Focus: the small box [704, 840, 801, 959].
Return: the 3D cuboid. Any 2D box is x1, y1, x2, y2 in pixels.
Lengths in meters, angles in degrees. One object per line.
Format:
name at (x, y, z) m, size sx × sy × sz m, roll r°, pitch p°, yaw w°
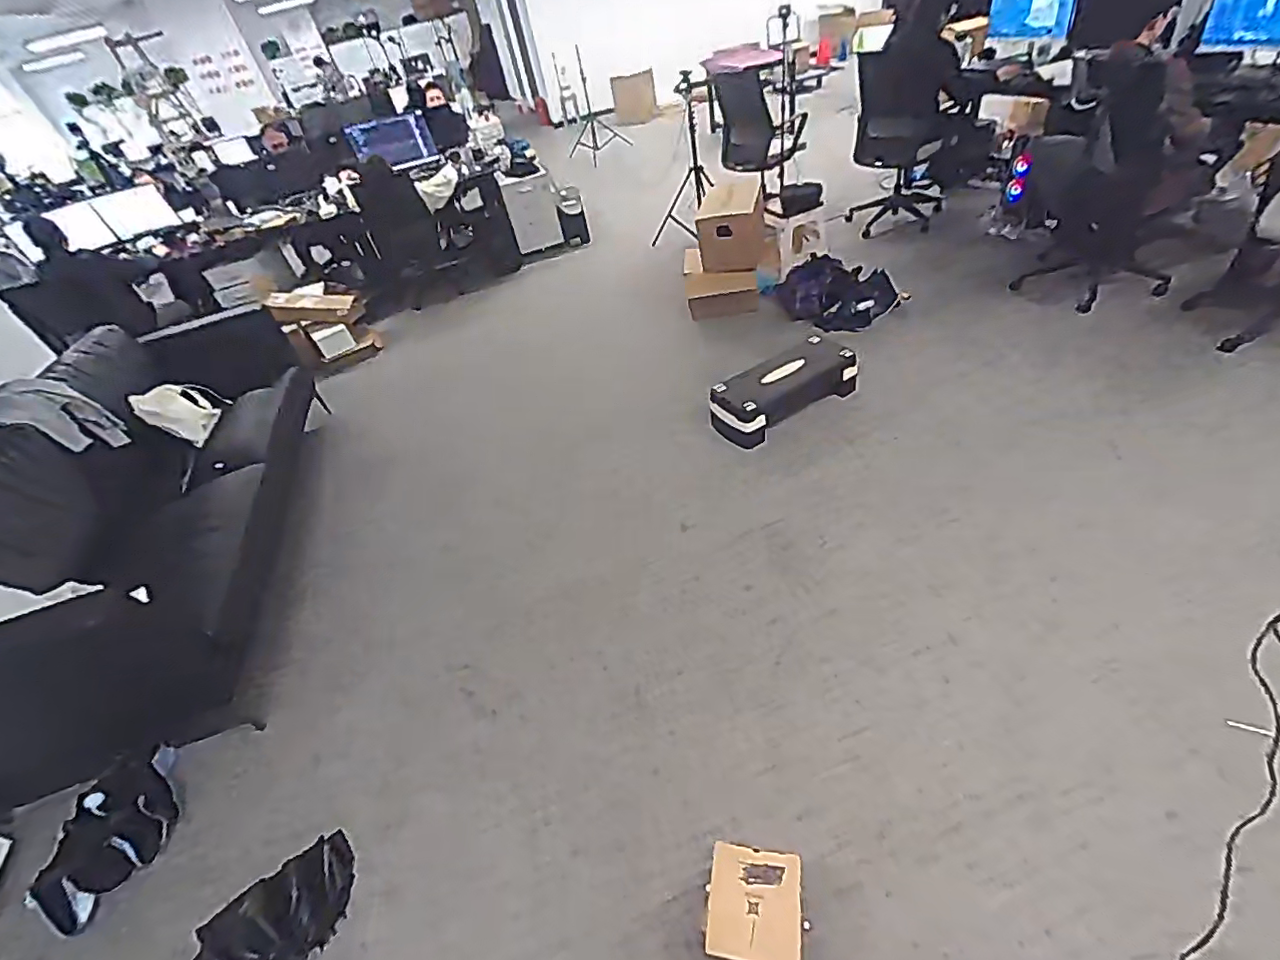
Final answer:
small box at (0.224, 0.835, 1.048) m, size 0.168 × 0.176 × 0.179 m, roll 0°, pitch 45°, yaw 17°
